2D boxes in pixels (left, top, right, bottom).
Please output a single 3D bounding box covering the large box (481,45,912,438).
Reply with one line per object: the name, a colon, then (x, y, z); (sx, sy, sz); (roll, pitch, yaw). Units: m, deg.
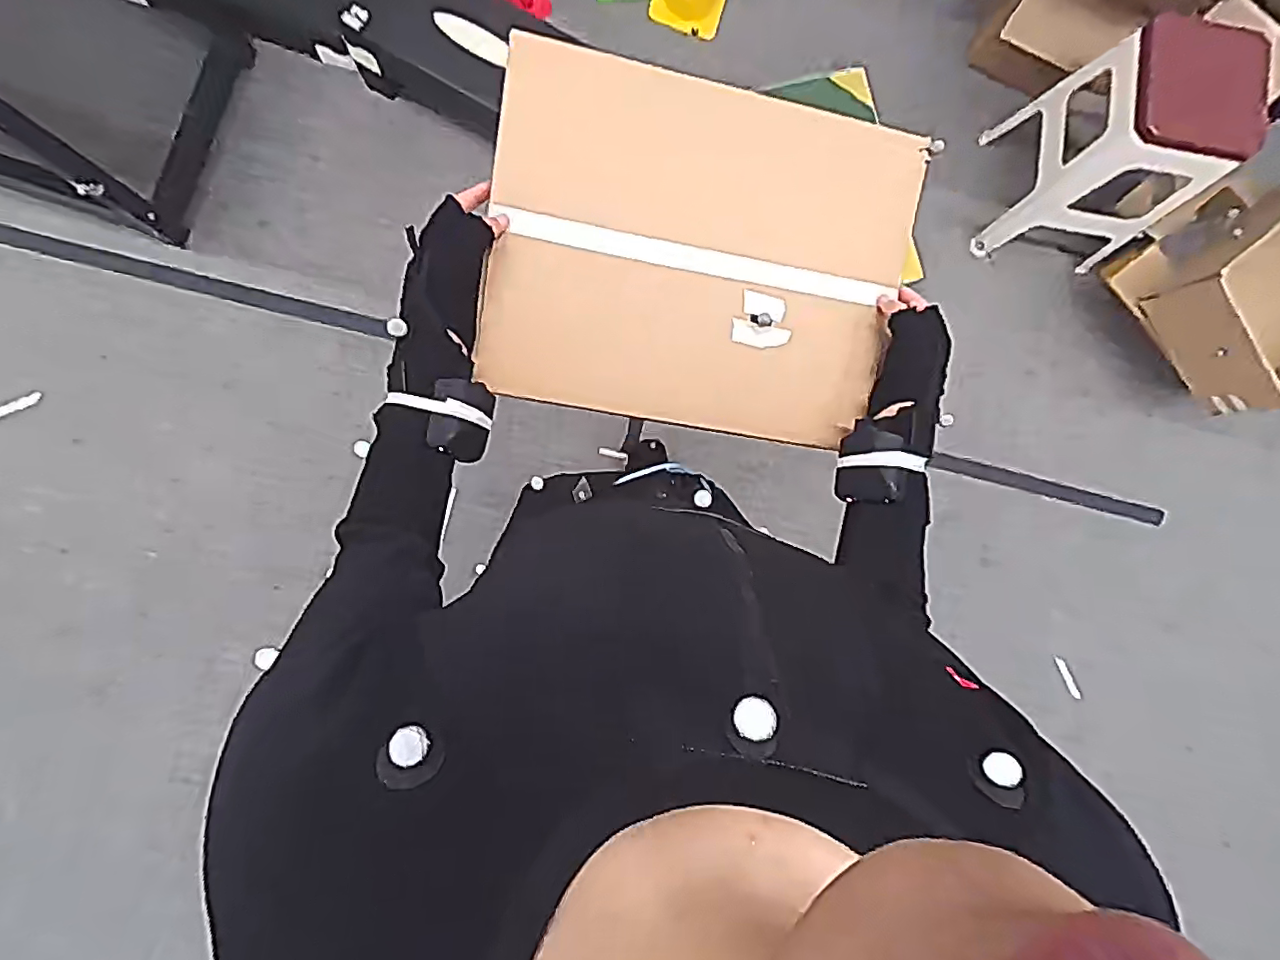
large box: (0.039, -0.241, 0.680); (0.408, 0.320, 0.320); (9, 98, -9)
